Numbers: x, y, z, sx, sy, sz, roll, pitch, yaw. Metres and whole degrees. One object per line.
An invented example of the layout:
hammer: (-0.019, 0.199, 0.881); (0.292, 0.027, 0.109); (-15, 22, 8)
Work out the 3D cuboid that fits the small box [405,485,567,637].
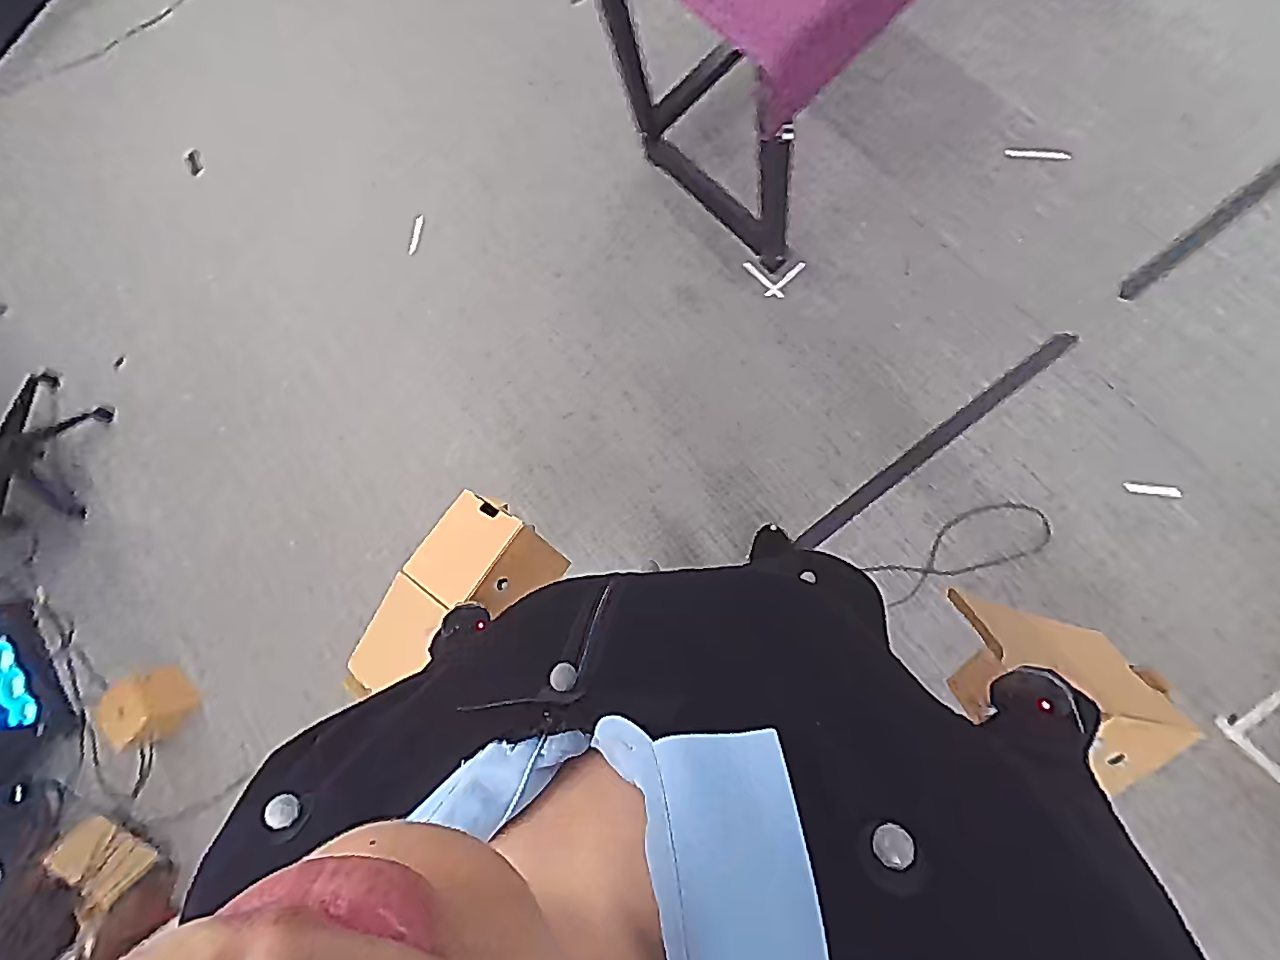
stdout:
small box: (-0.259, 0.145, 0.942); (0.168, 0.176, 0.179); (24, 70, 35)
